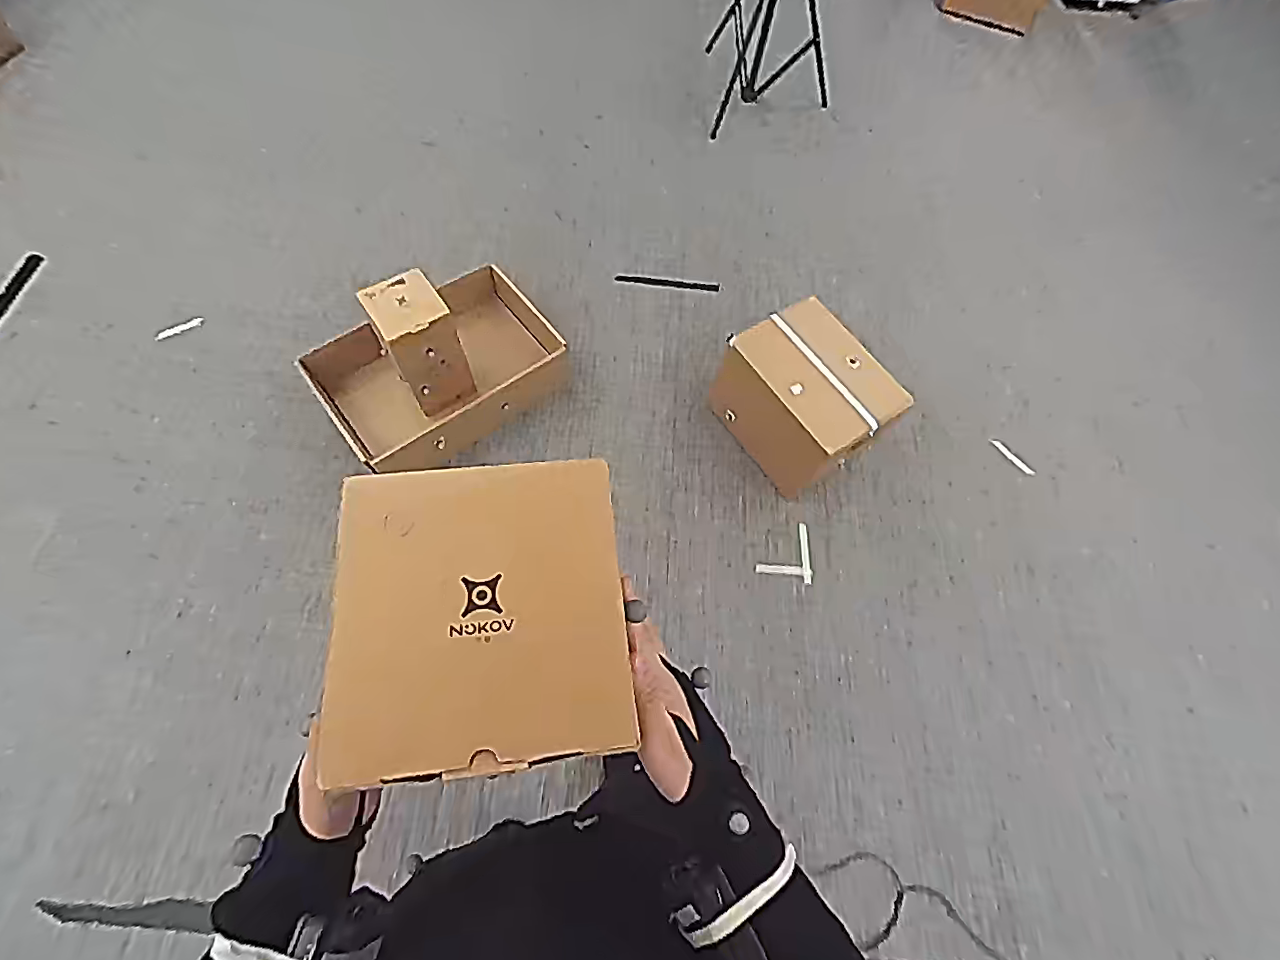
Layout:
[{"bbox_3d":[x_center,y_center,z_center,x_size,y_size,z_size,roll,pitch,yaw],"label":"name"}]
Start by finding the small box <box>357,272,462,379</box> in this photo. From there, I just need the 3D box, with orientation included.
[{"bbox_3d":[-0.573,-0.381,1.369,0.168,0.176,0.179,-31,72,-18],"label":"small box"}]

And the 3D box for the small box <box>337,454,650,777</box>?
[{"bbox_3d":[-0.093,0.098,0.391,0.168,0.176,0.179,-5,69,-8],"label":"small box"}]
